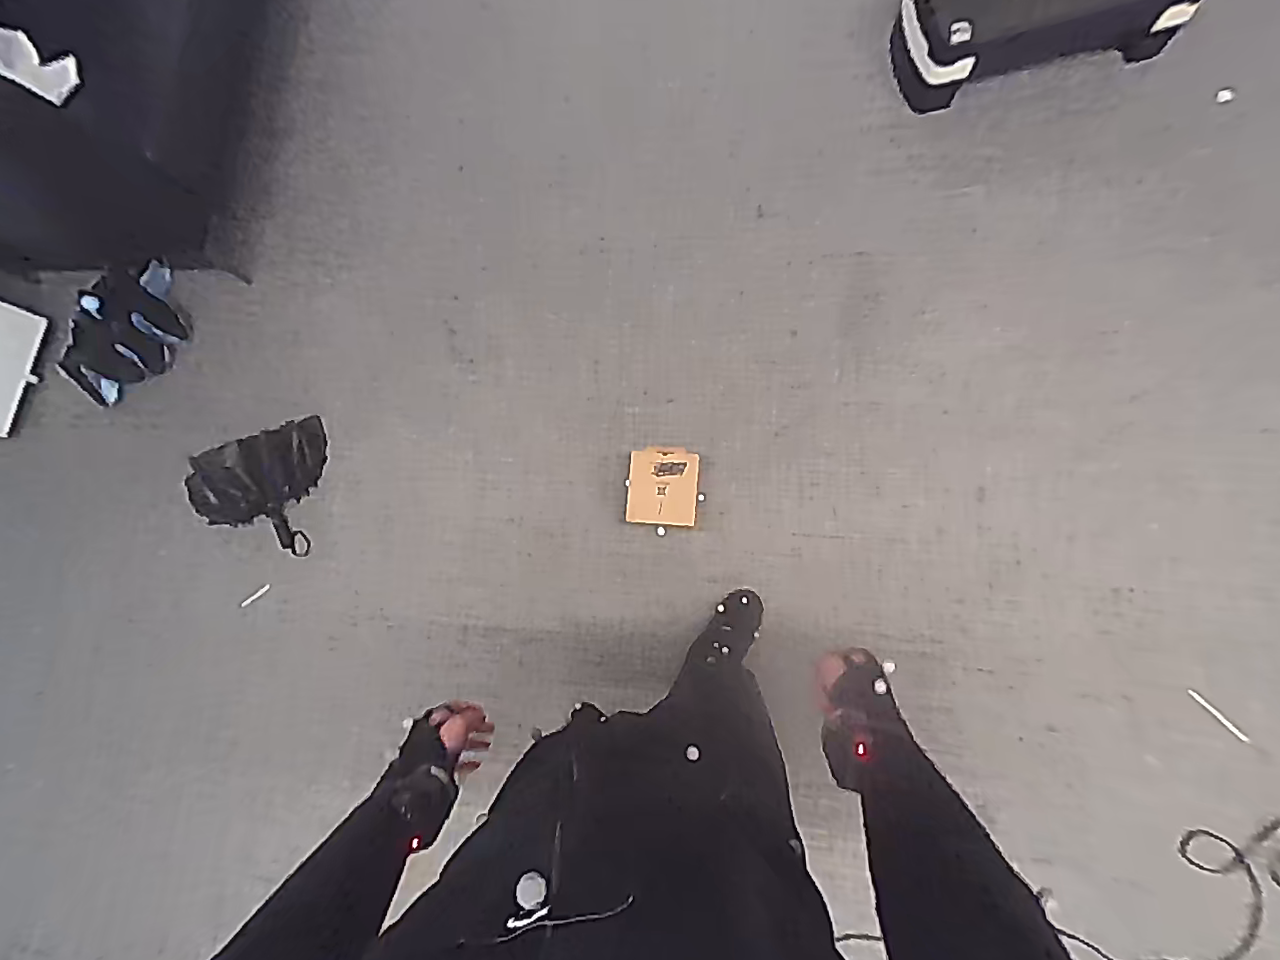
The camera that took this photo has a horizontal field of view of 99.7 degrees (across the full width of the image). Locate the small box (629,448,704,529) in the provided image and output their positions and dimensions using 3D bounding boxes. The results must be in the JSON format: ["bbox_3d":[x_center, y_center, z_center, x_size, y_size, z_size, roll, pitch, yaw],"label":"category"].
[{"bbox_3d":[0.073,0.025,1.360,0.168,0.176,0.179,3,81,10],"label":"small box"}]
